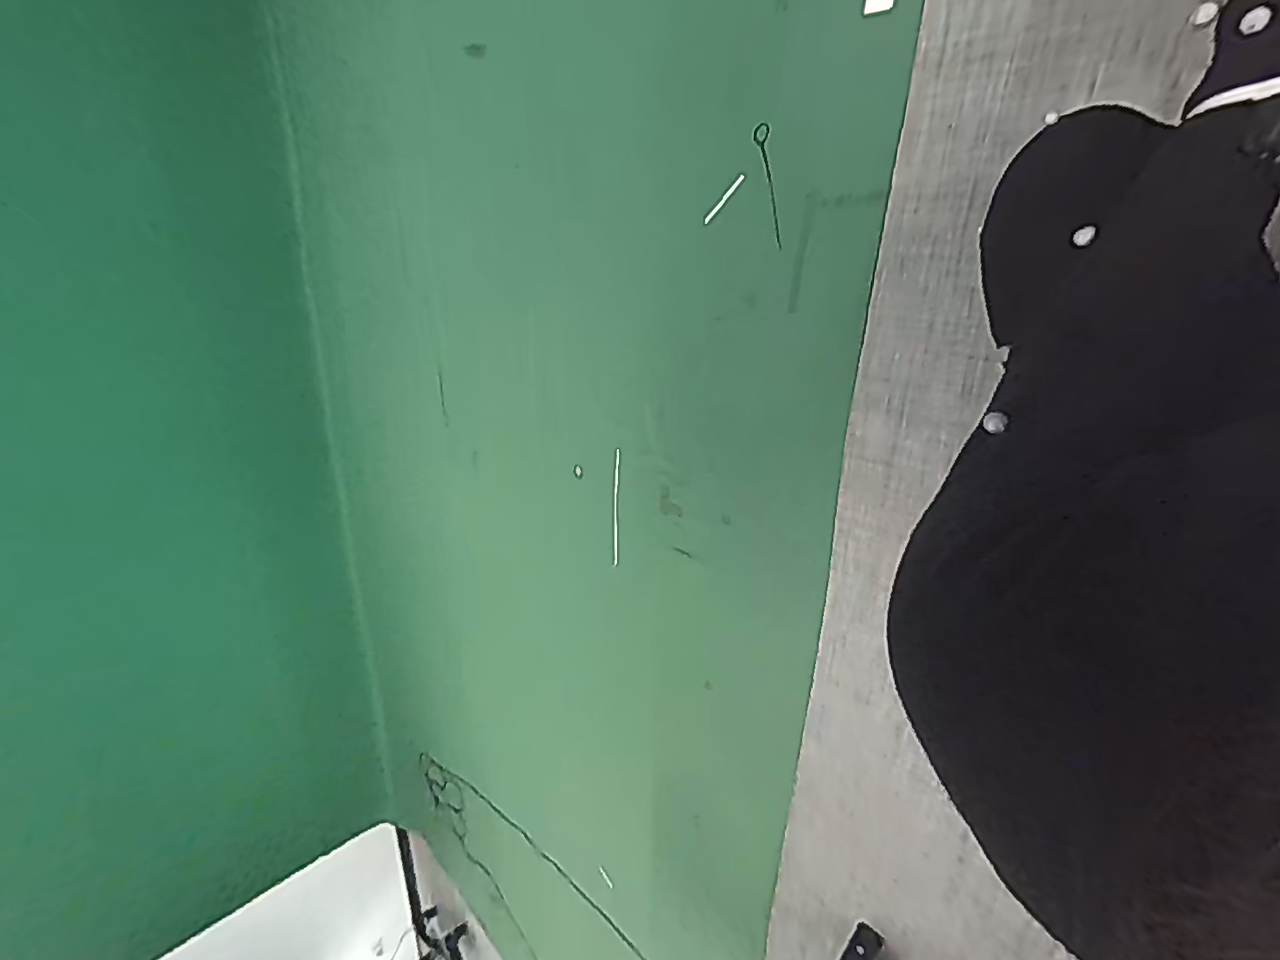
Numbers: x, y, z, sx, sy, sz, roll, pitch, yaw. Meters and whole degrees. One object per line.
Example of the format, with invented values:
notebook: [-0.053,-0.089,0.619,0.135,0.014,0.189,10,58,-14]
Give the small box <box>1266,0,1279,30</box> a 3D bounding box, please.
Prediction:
small box: [0.697,-0.530,0.470,0.168,0.176,0.179,19,115,41]
